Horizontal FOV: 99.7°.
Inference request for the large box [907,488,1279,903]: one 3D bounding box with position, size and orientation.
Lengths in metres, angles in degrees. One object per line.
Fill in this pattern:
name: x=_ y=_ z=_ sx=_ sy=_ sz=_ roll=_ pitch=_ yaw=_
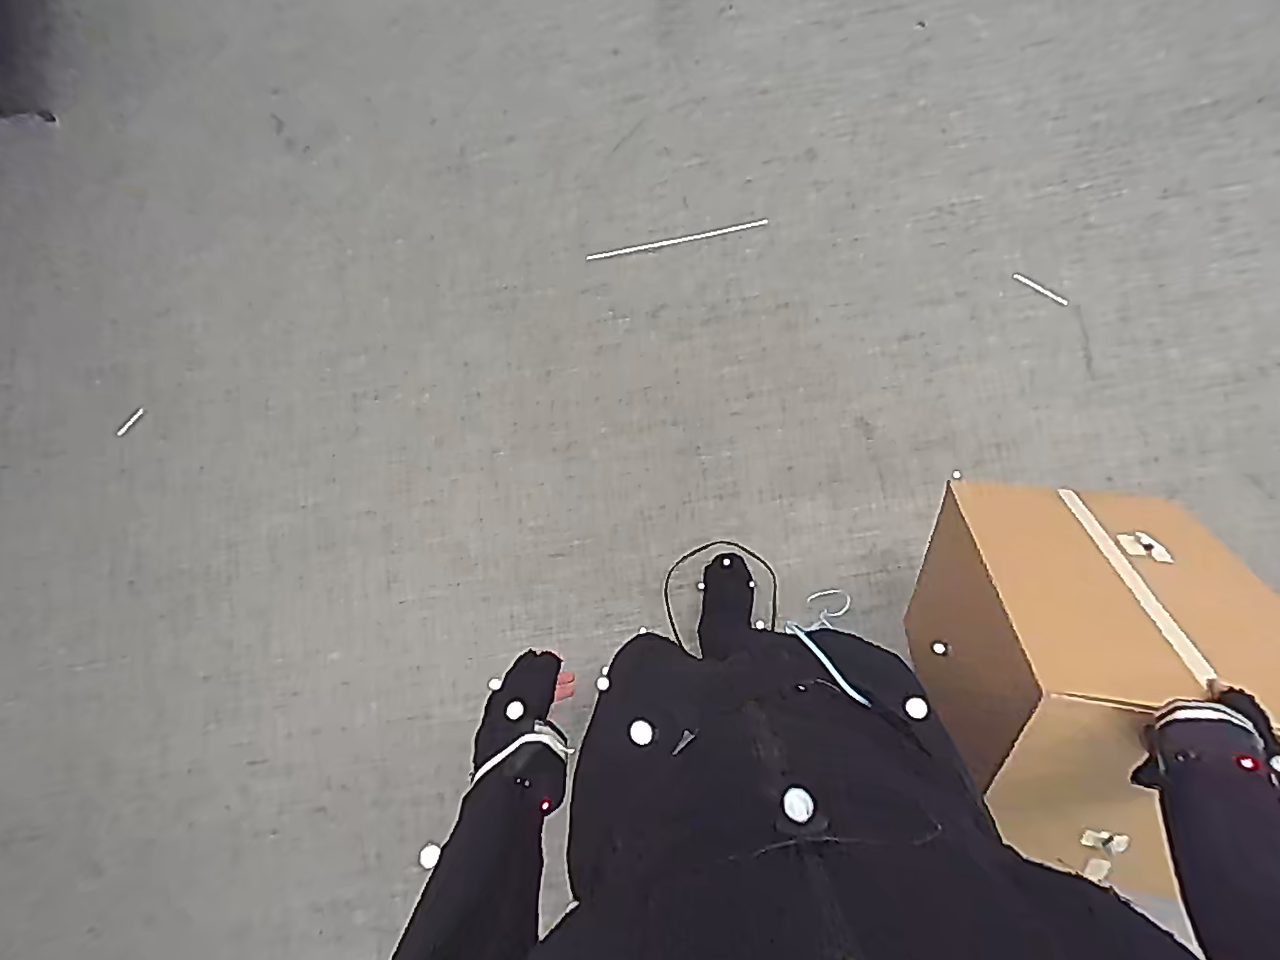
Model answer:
large box: x=0.595 y=0.256 z=0.741 sx=0.320 sy=0.408 sz=0.320 roll=7 pitch=122 yaw=12
